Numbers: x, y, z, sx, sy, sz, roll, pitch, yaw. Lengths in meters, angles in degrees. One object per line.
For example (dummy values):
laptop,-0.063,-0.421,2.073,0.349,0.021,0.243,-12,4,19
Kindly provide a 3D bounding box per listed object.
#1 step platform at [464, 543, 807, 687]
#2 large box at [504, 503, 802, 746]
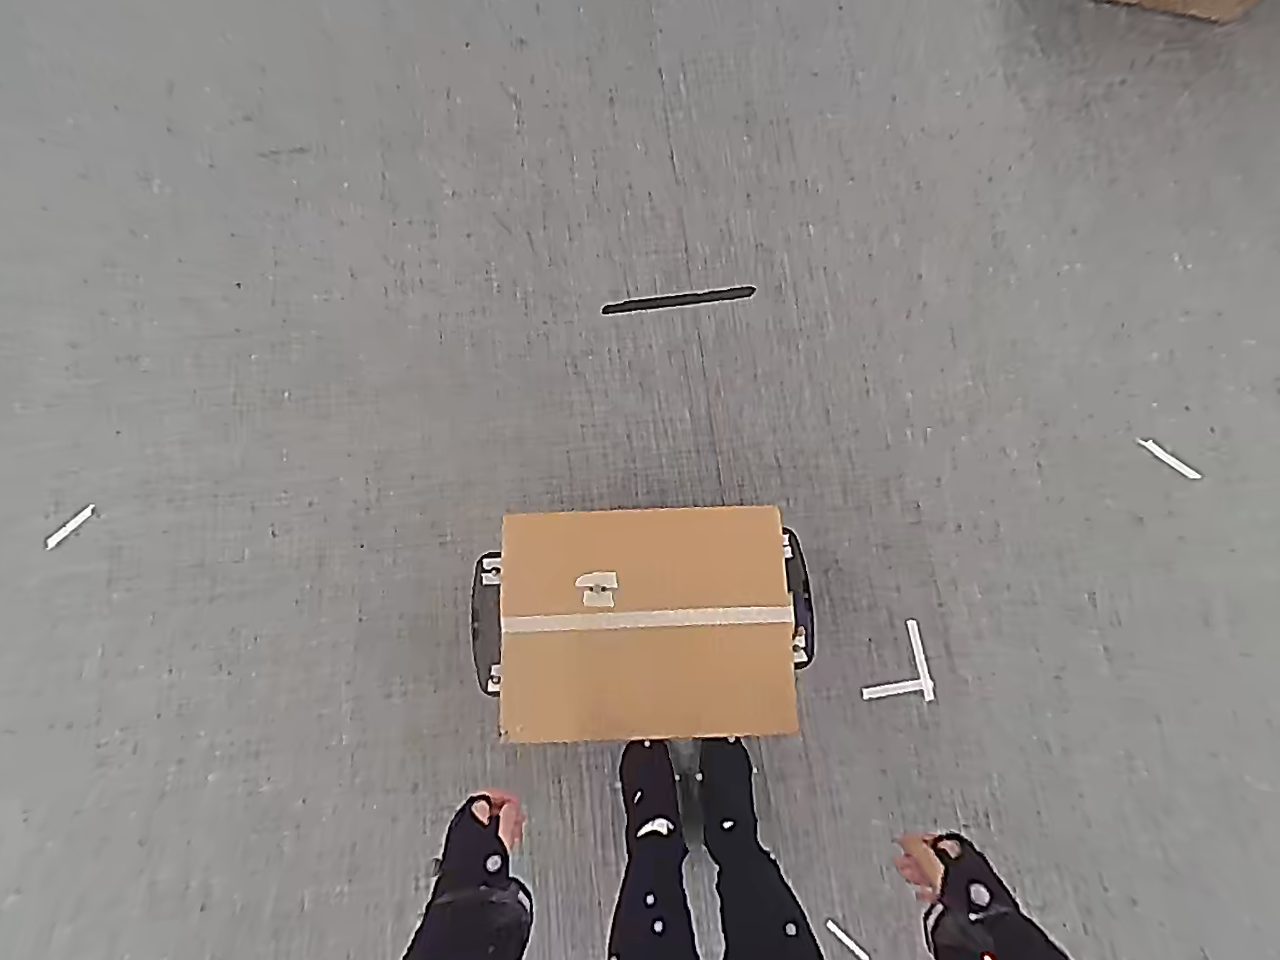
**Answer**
step platform,-0.009,0.274,1.124,0.684,0.204,0.286,0,79,1
large box,0.016,0.221,0.890,0.408,0.320,0.320,-2,78,1
